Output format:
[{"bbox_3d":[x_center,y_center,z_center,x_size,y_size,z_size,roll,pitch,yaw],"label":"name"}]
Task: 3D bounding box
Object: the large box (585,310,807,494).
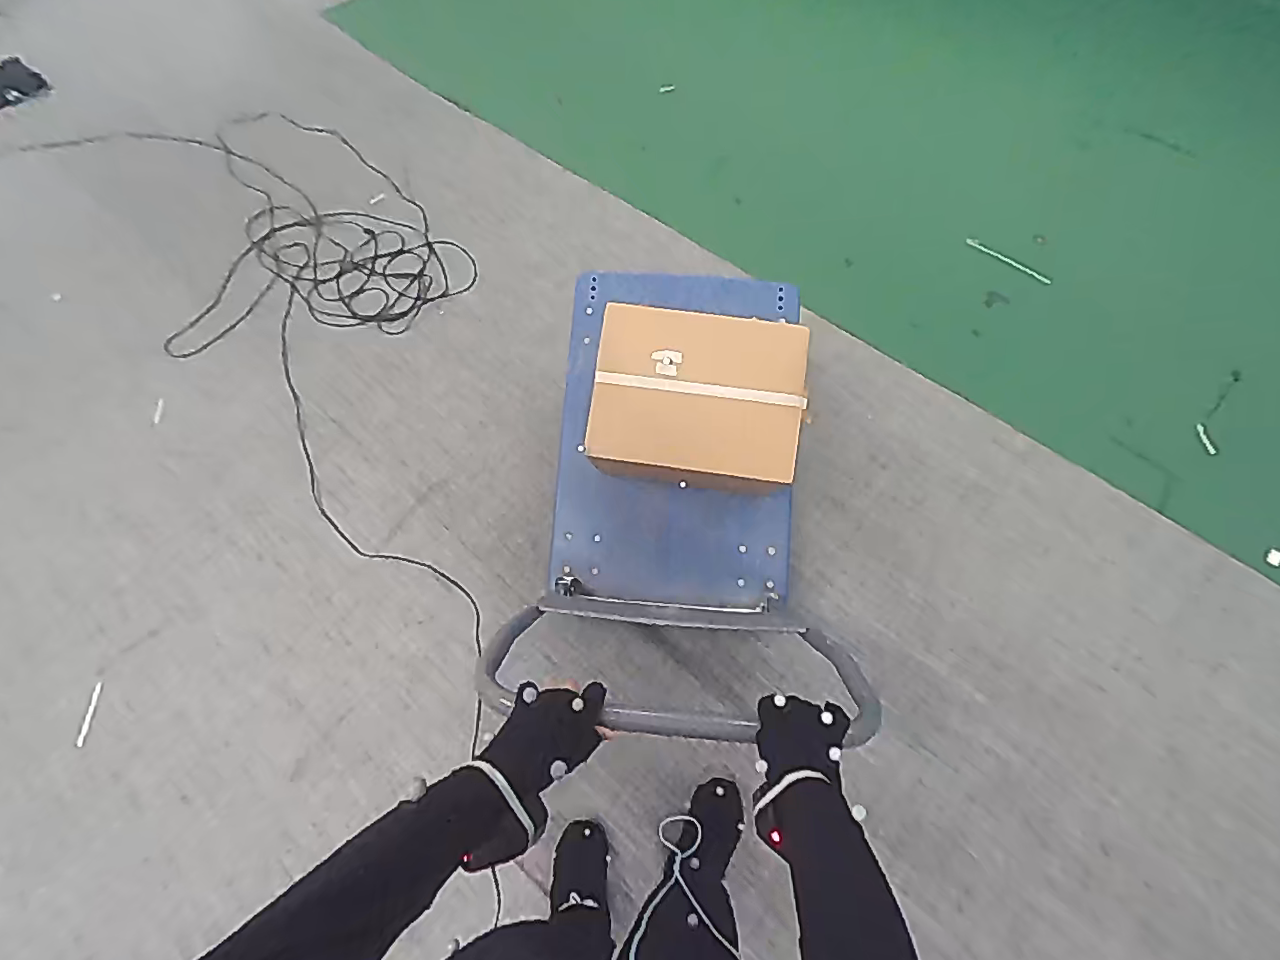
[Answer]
[{"bbox_3d":[0.120,-0.150,1.192,0.408,0.320,0.320,8,84,4],"label":"large box"}]
